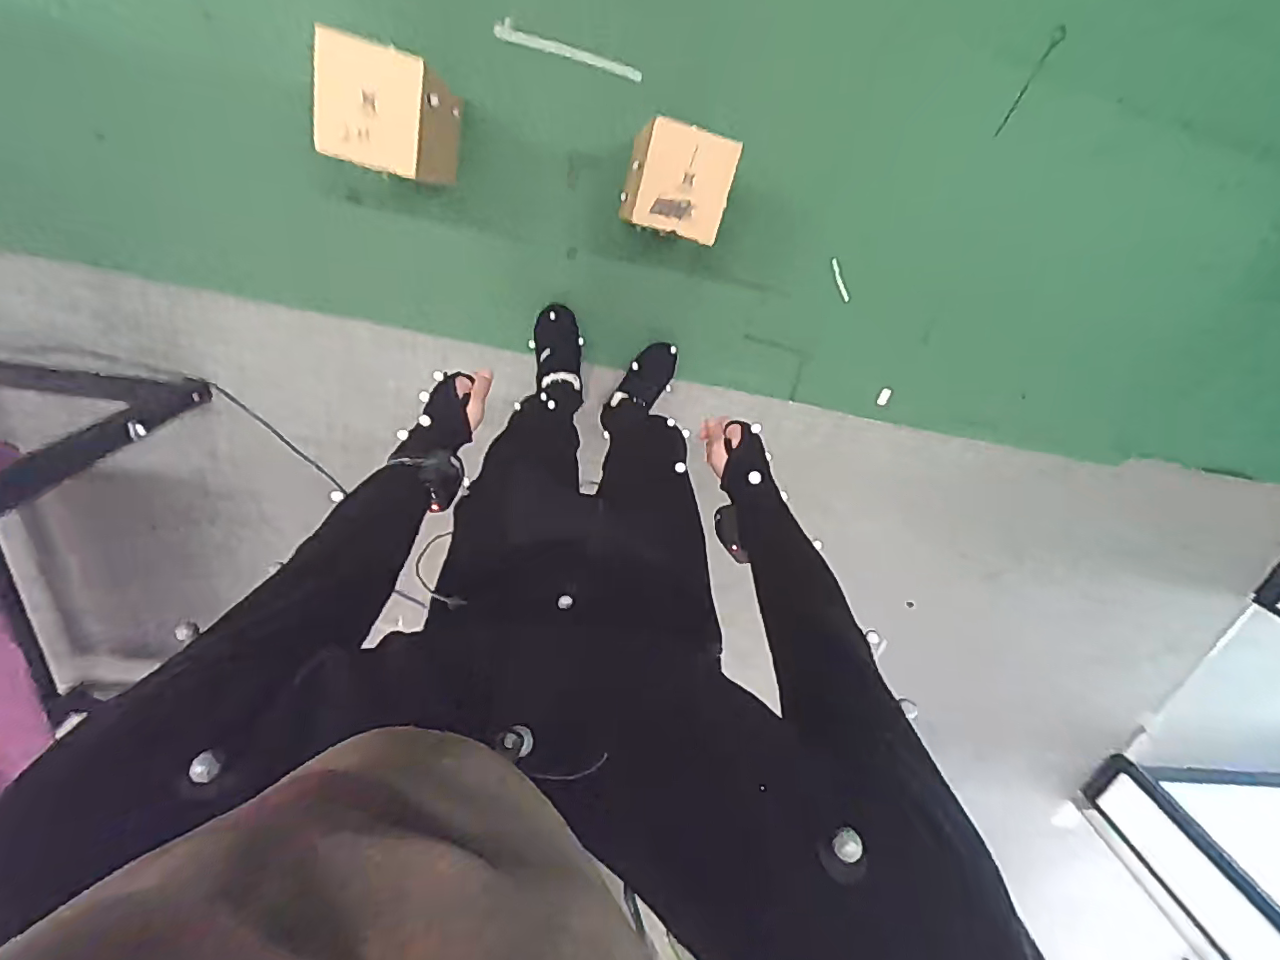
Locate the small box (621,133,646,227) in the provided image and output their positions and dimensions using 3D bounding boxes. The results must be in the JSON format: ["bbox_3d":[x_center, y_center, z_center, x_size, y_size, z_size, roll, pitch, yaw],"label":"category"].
[{"bbox_3d":[0.057,-0.645,1.203,0.168,0.176,0.179,10,116,-12],"label":"small box"}]

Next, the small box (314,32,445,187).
[{"bbox_3d":[-0.454,-0.641,0.961,0.168,0.176,0.179,12,114,-11],"label":"small box"}]

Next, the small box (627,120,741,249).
[{"bbox_3d":[0.074,-0.570,1.058,0.168,0.176,0.179,11,115,-13],"label":"small box"}]
